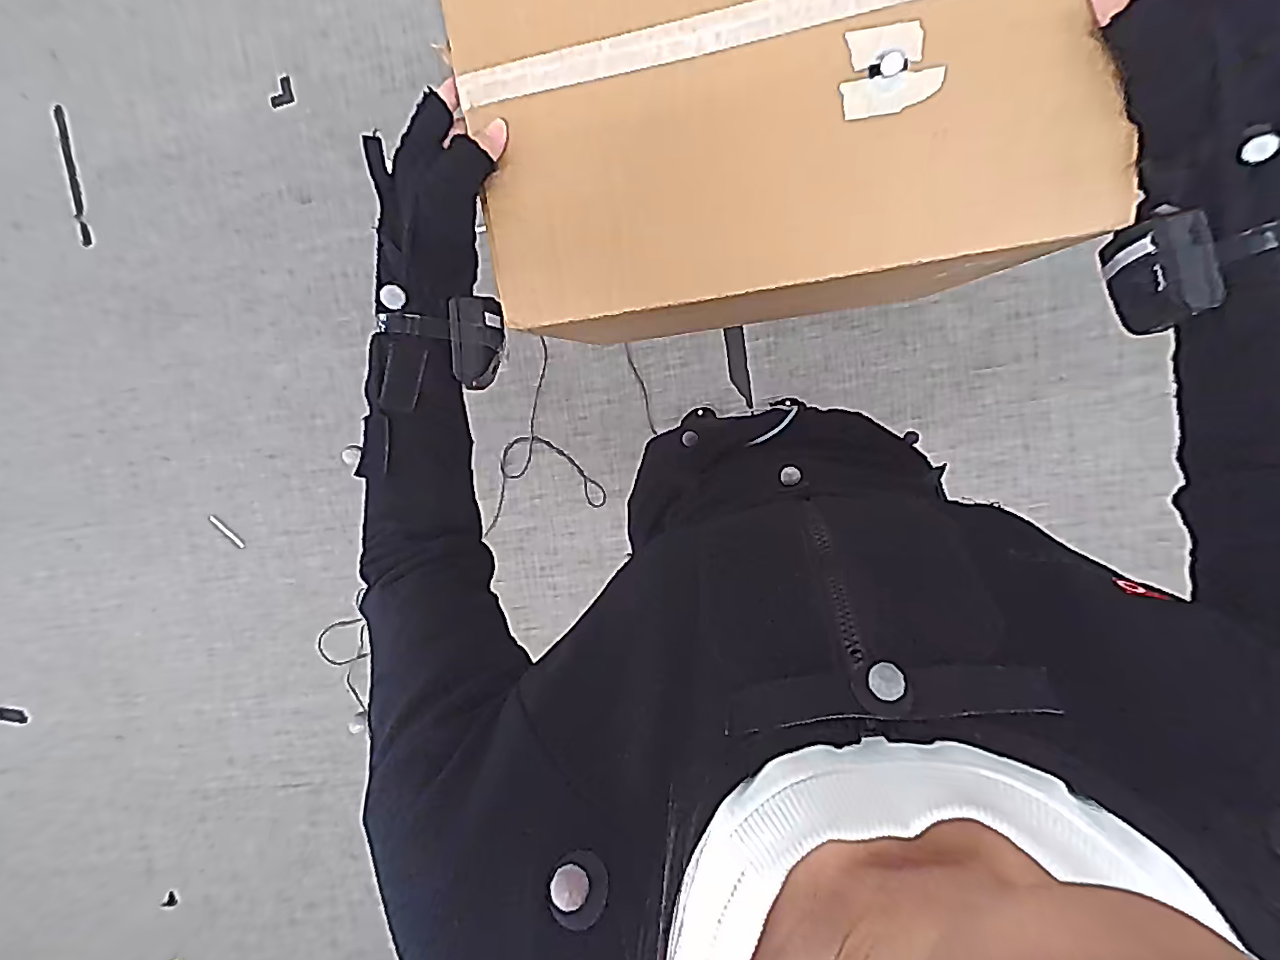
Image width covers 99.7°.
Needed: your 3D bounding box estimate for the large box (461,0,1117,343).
[{"bbox_3d":[0.099,-0.319,0.490,0.408,0.320,0.320,-7,101,8],"label":"large box"}]
